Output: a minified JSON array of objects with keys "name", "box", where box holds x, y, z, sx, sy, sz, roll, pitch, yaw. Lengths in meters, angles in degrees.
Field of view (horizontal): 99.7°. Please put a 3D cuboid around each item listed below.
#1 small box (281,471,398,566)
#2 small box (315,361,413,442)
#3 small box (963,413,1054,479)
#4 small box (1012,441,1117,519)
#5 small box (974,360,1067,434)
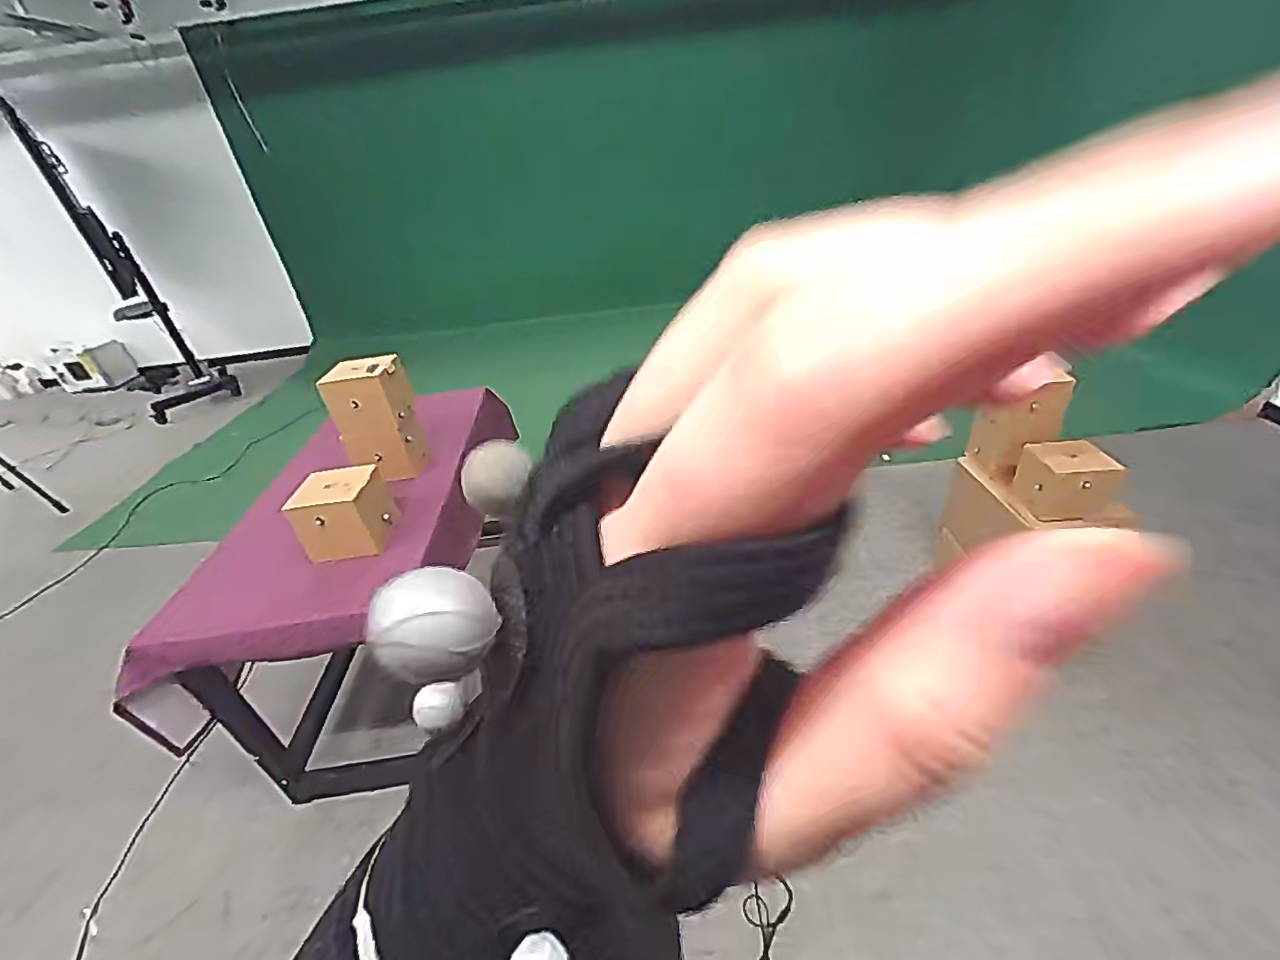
[{"name":"small box","box":[-0.746,0.099,1.363,0.179,0.176,0.168,-8,33,0]},{"name":"small box","box":[-0.792,-0.228,1.576,0.179,0.176,0.168,-9,32,2]},{"name":"small box","box":[1.207,-0.121,1.785,0.179,0.176,0.168,-8,34,3]},{"name":"small box","box":[1.227,0.003,1.584,0.179,0.176,0.168,-4,32,4]},{"name":"small box","box":[1.180,-0.256,1.696,0.179,0.176,0.168,-8,34,4]}]
